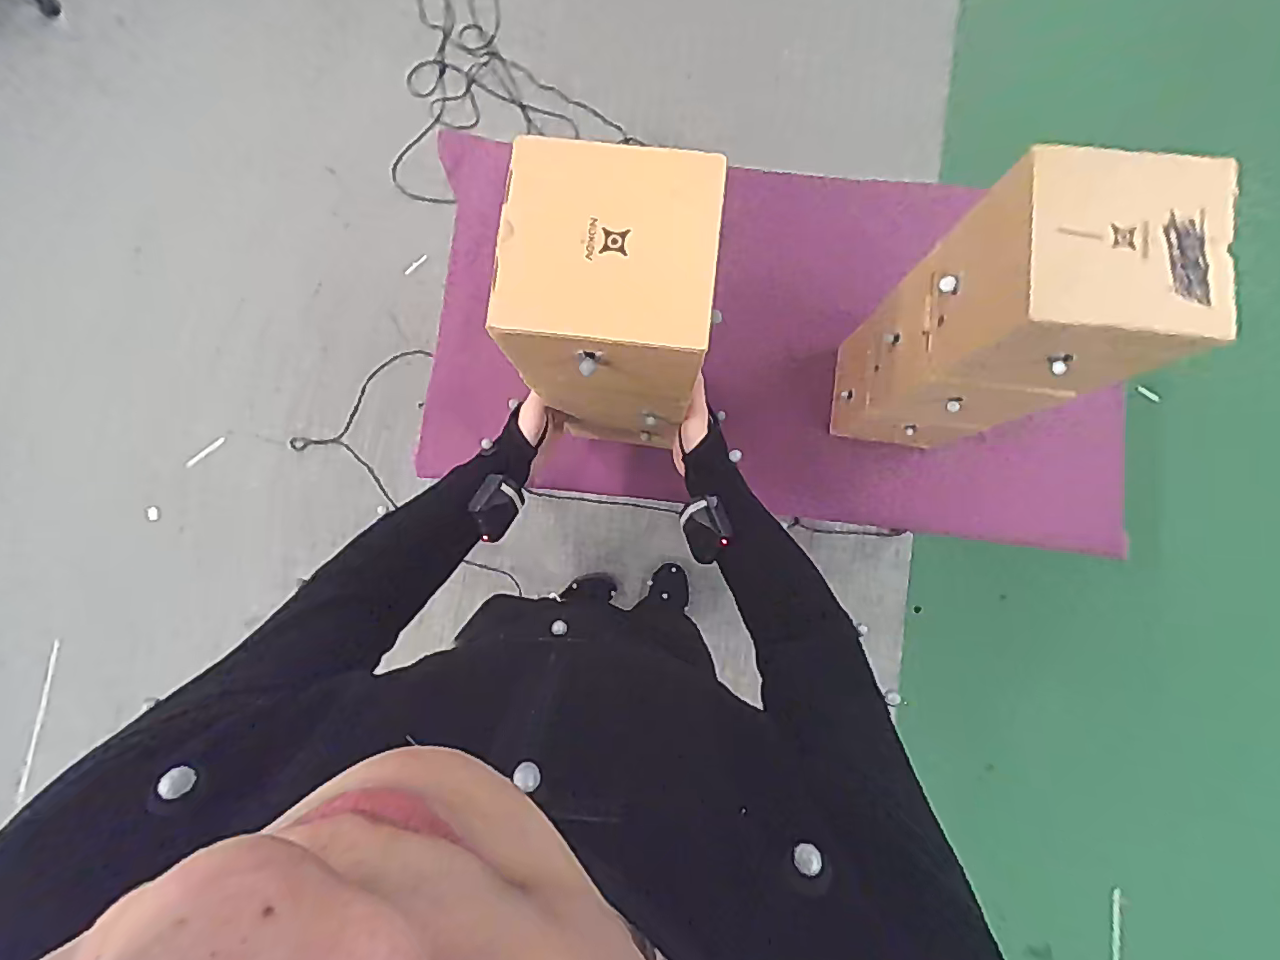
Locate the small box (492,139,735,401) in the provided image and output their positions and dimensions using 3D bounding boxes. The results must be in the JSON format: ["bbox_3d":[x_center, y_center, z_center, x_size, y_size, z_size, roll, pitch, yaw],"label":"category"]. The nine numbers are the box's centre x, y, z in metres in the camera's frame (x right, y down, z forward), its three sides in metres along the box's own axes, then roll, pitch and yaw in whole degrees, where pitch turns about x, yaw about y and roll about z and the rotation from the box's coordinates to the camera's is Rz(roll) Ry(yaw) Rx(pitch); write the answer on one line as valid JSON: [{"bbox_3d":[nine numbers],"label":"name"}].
[{"bbox_3d":[-0.019,-0.176,0.504,0.179,0.176,0.168,7,85,2],"label":"small box"}]

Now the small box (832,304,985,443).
[{"bbox_3d":[0.427,-0.162,0.873,0.179,0.176,0.168,9,84,1],"label":"small box"}]

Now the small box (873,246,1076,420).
[{"bbox_3d":[0.427,-0.181,0.711,0.179,0.176,0.168,7,85,2],"label":"small box"}]

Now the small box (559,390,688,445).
[{"bbox_3d":[-0.014,-0.154,0.830,0.179,0.176,0.168,8,84,2],"label":"small box"}]

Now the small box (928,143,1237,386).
[{"bbox_3d":[0.427,-0.199,0.547,0.179,0.176,0.168,6,84,2],"label":"small box"}]
